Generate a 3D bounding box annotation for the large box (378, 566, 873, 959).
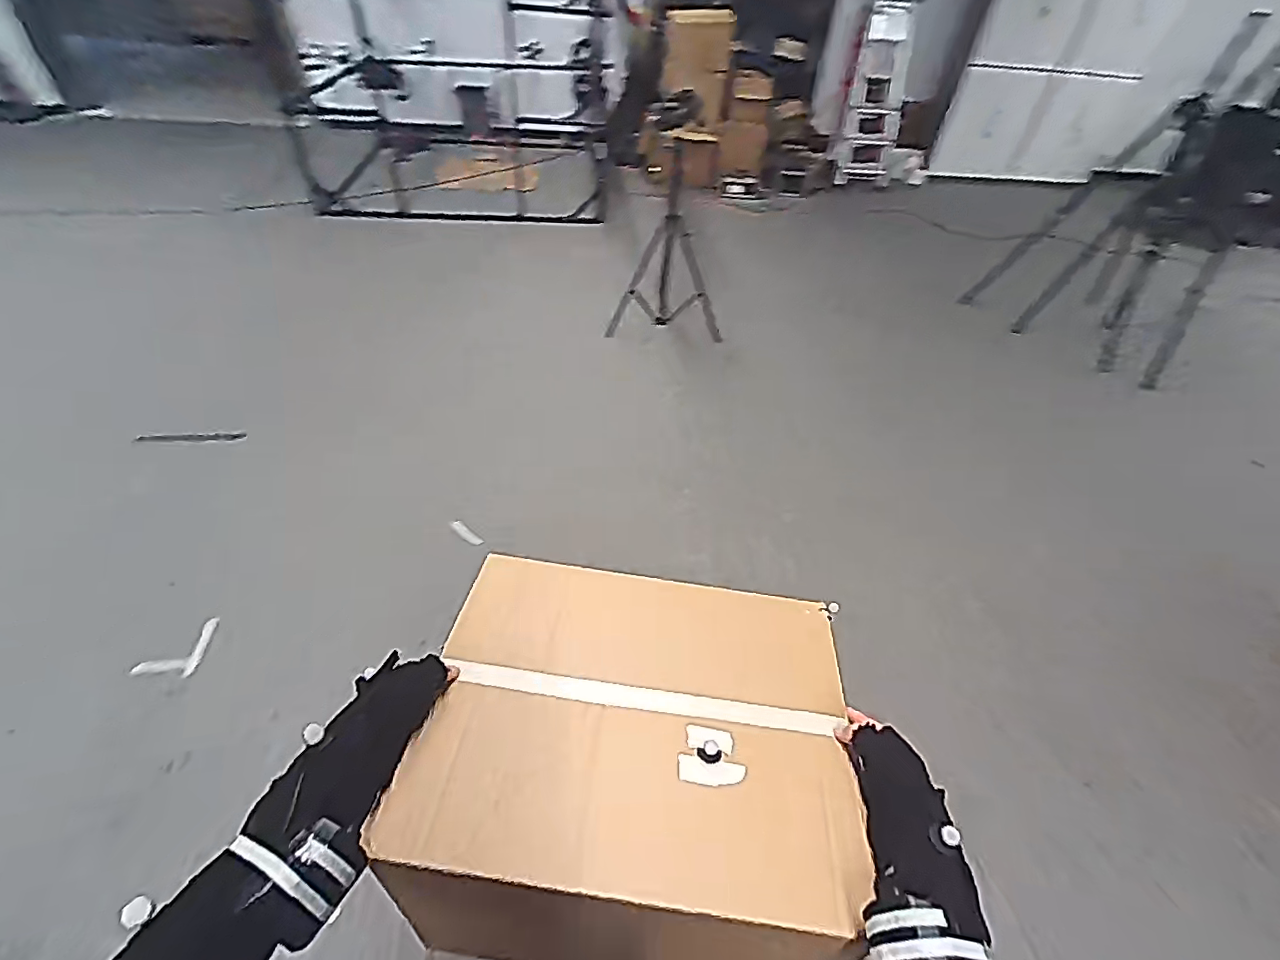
[{"bbox_3d":[-0.015,0.337,0.630,0.408,0.320,0.320,8,39,1],"label":"large box"}]
